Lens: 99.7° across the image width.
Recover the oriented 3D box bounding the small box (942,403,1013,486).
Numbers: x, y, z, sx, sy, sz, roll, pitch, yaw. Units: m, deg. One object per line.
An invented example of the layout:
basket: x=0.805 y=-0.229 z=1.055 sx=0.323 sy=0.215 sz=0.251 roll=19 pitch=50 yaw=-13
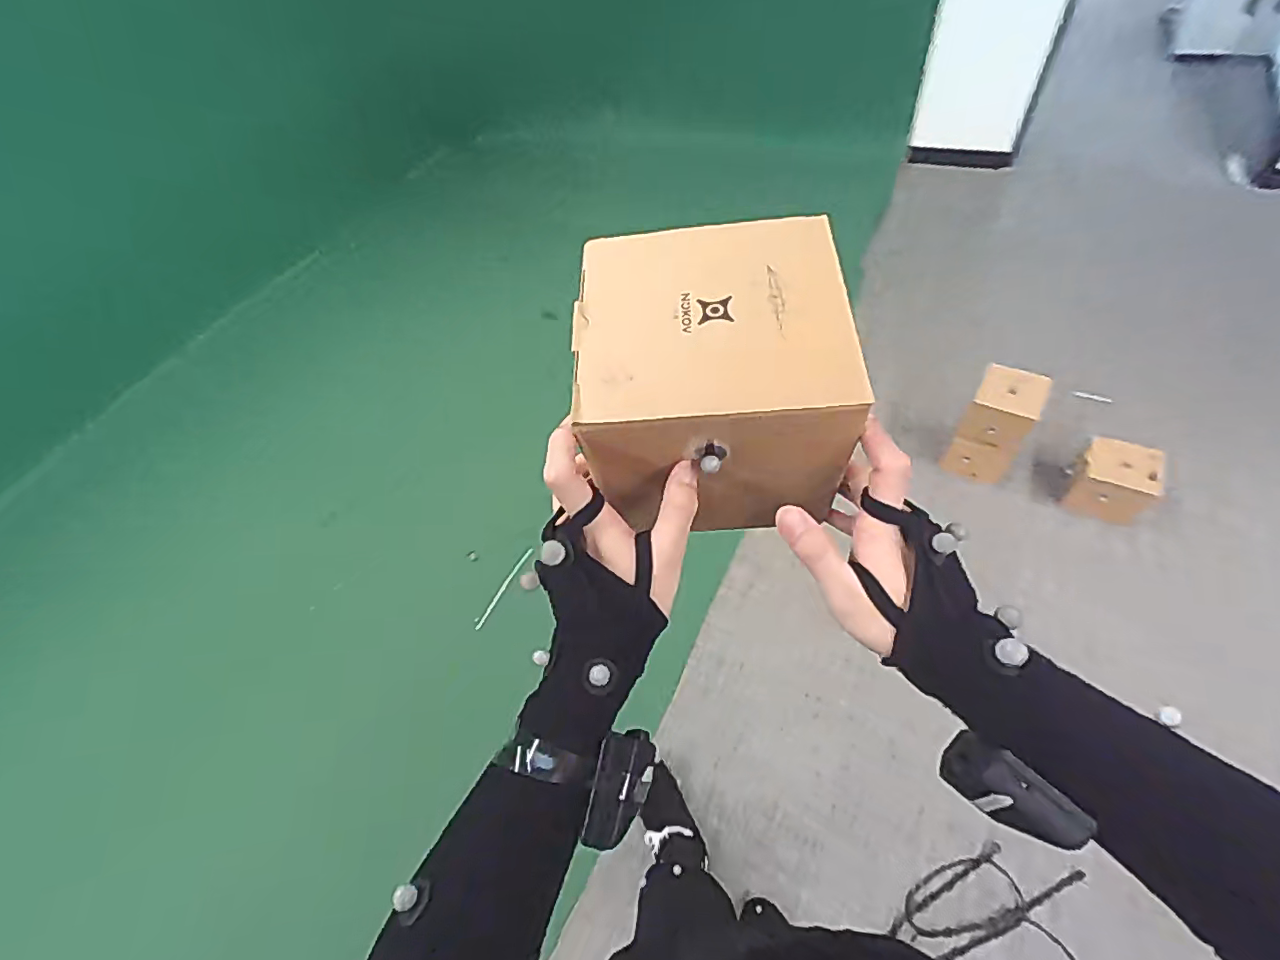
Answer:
small box: x=1.091 y=-0.110 z=1.730 sx=0.168 sy=0.176 sz=0.179 roll=23 pitch=62 yaw=25

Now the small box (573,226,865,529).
small box: x=0.057 y=-0.068 z=0.426 sx=0.179 sy=0.176 sz=0.168 roll=-2 pitch=60 yaw=7

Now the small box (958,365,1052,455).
small box: x=1.068 y=-0.203 z=1.595 sx=0.168 sy=0.176 sz=0.179 roll=25 pitch=63 yaw=25

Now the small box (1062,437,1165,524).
small box: x=1.383 y=0.004 z=1.588 sx=0.179 sy=0.176 sz=0.168 roll=20 pitch=62 yaw=24
